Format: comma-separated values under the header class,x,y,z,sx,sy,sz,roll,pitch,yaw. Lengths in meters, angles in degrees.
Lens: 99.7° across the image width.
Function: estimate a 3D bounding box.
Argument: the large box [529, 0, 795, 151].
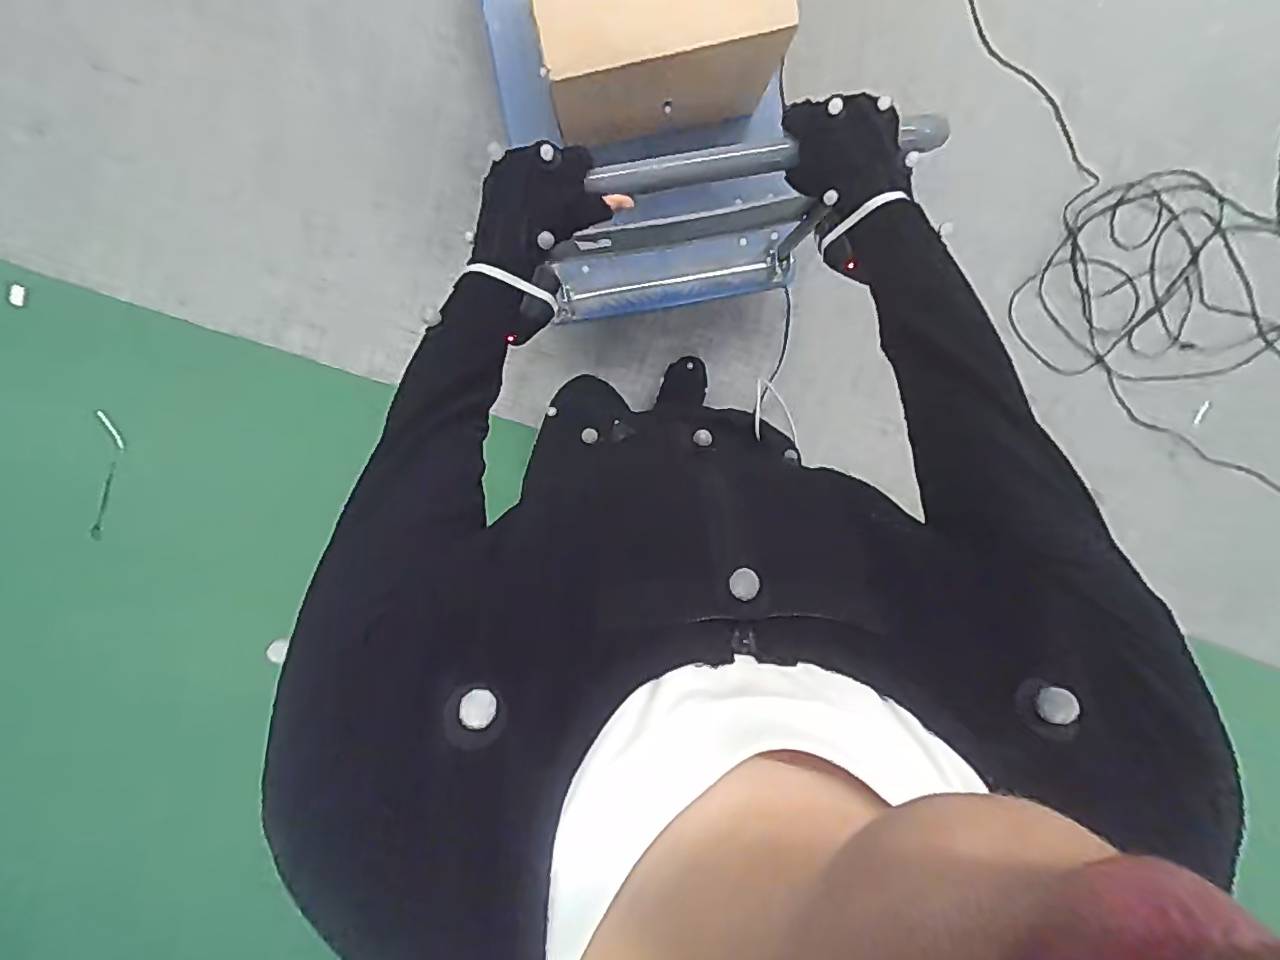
class,x,y,z,sx,sy,sz,roll,pitch,yaw
large box,0.016,-0.845,0.962,0.408,0.320,0.320,-12,102,1
